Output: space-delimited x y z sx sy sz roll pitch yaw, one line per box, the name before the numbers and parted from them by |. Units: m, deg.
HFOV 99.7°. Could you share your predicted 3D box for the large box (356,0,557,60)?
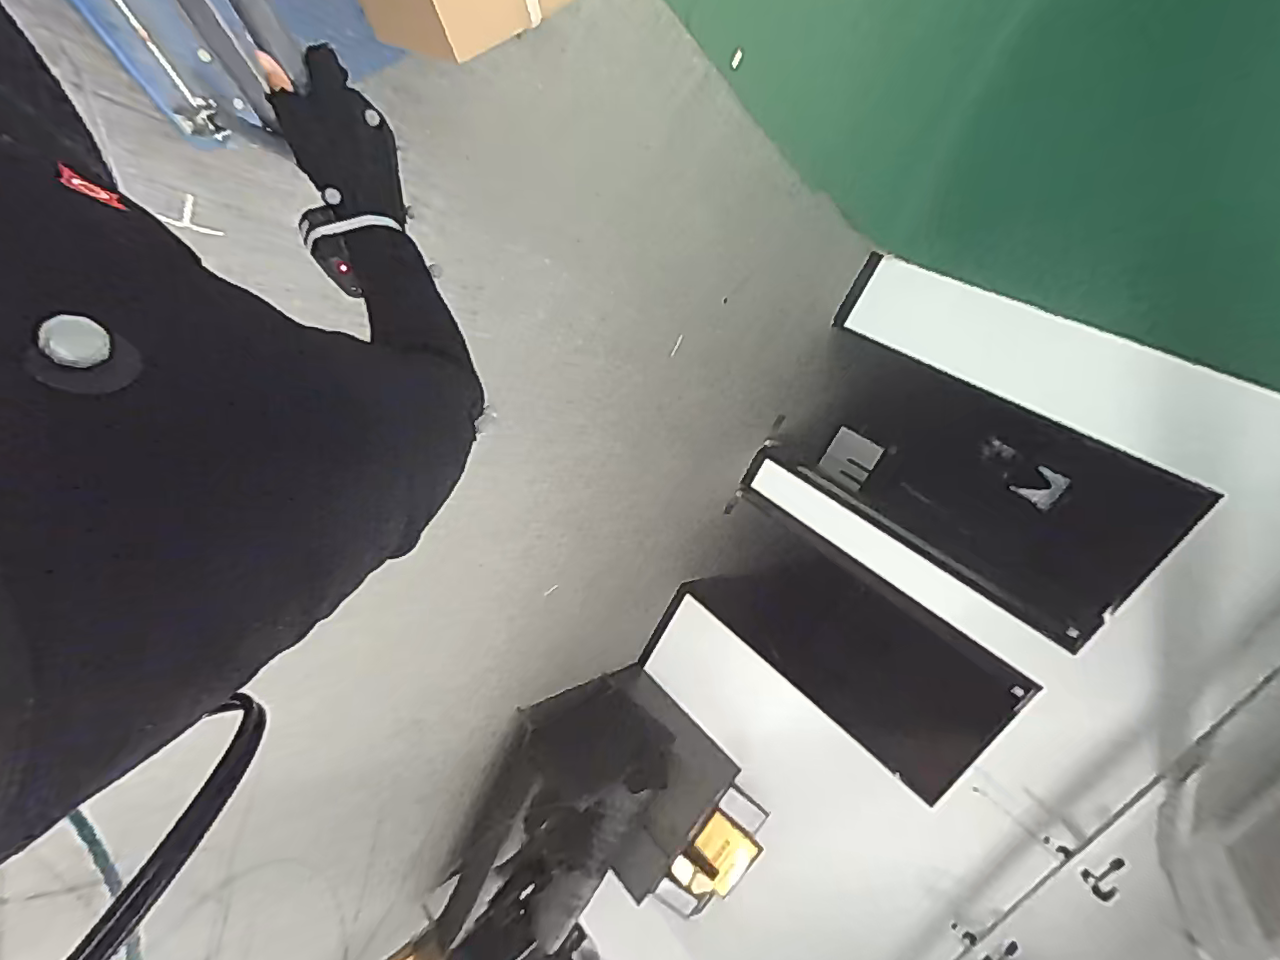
large box | -0.327 -0.936 0.799 0.320 0.320 0.408 -42 147 -15
